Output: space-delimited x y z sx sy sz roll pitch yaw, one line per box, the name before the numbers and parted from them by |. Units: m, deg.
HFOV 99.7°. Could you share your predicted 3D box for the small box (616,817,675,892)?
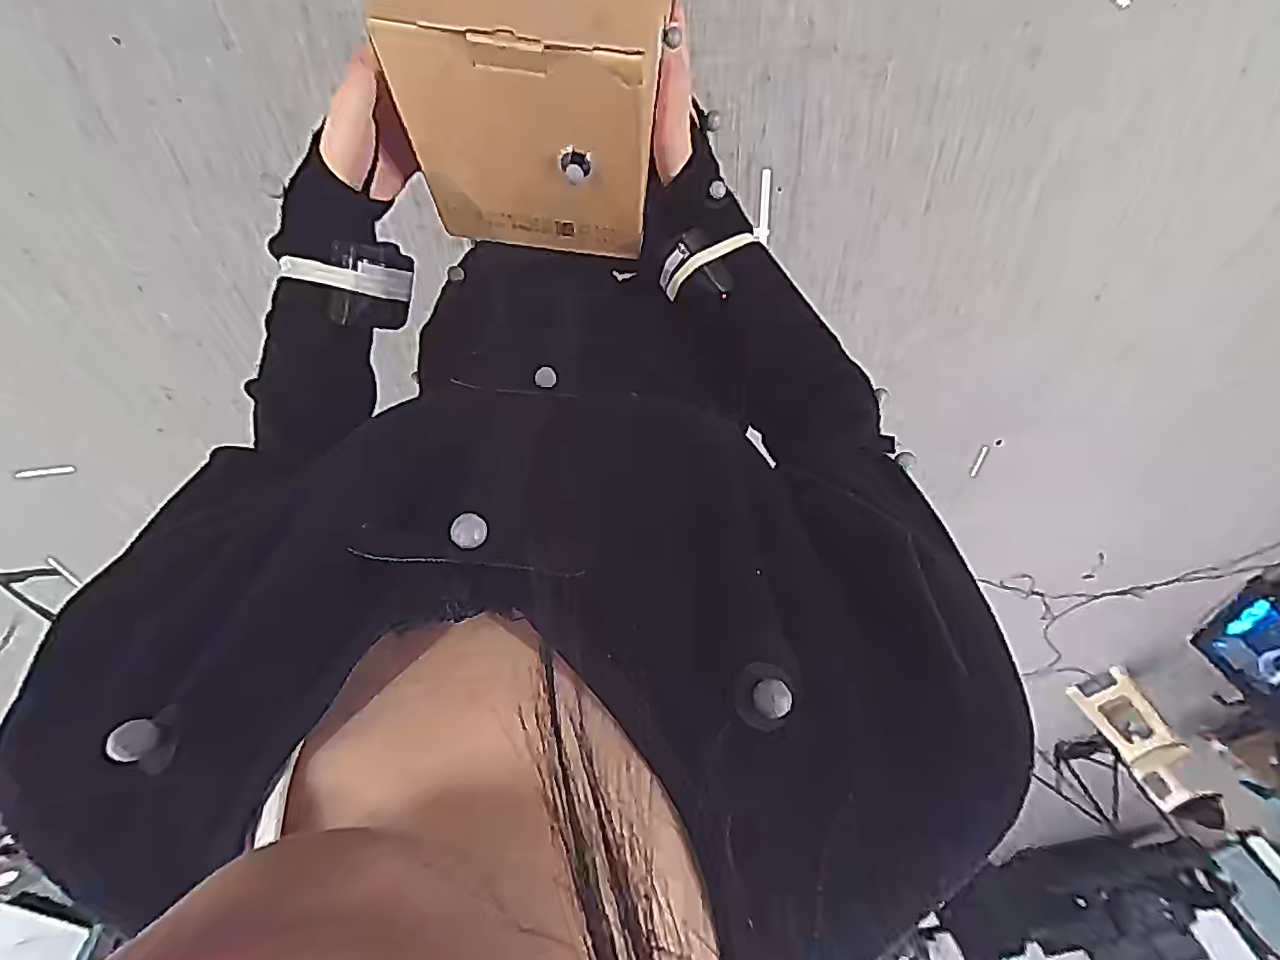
small box | 0.018 1.271 1.843 0.179 0.176 0.168 -8 131 -1
